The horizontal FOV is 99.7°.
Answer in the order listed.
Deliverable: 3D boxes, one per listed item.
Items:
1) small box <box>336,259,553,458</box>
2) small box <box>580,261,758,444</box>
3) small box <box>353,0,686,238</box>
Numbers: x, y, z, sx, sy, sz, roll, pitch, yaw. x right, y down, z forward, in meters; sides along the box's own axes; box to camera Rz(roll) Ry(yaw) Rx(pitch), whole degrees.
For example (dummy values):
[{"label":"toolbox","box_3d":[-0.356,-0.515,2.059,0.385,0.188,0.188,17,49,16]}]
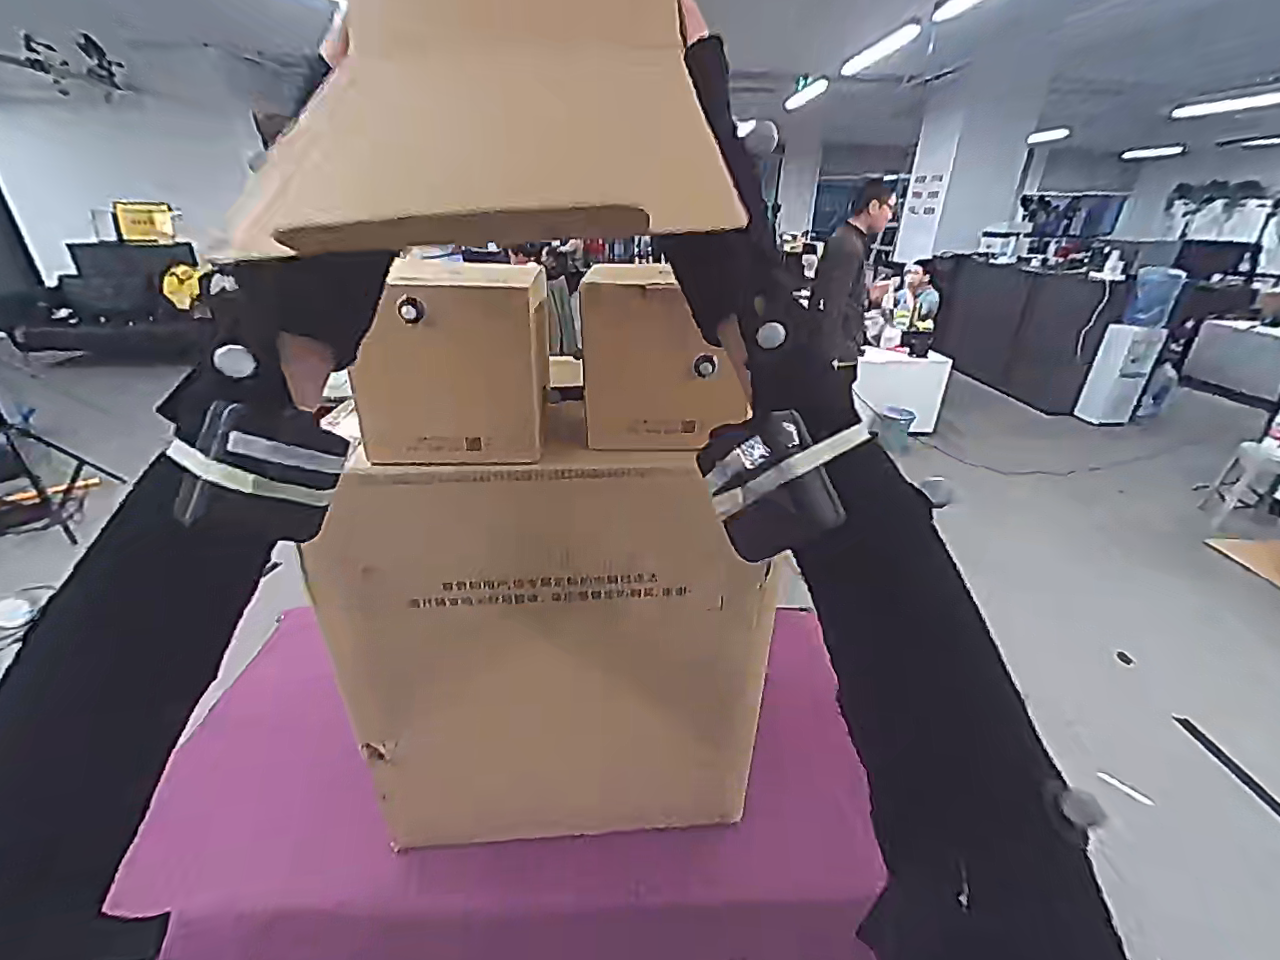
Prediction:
[{"label":"small box","box_3d":[-0.180,-0.131,0.559,0.168,0.176,0.179,-1,26,-5]},{"label":"small box","box_3d":[0.028,-0.145,0.597,0.168,0.176,0.179,0,25,0]},{"label":"small box","box_3d":[-0.066,-0.289,0.356,0.168,0.179,0.176,-4,-7,-2]}]
